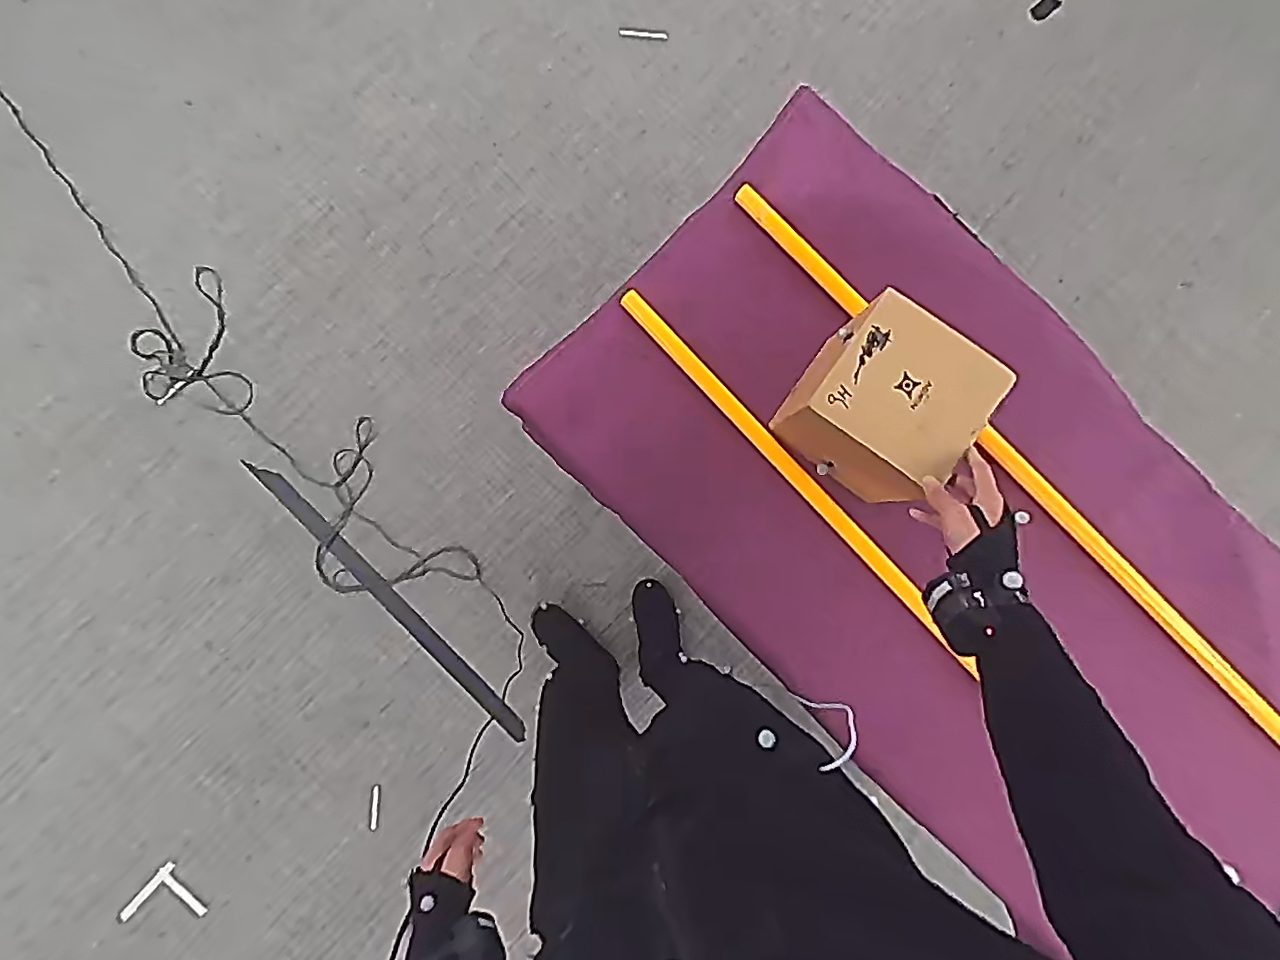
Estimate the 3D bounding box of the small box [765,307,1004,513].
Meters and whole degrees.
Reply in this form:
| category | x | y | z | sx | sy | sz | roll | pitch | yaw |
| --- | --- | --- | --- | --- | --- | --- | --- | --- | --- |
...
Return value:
| category | x | y | z | sx | sy | sz | roll | pitch | yaw |
| --- | --- | --- | --- | --- | --- | --- | --- | --- | --- |
| small box | 0.287 | -0.076 | 0.675 | 0.179 | 0.176 | 0.168 | 36 | 86 | 0 |
